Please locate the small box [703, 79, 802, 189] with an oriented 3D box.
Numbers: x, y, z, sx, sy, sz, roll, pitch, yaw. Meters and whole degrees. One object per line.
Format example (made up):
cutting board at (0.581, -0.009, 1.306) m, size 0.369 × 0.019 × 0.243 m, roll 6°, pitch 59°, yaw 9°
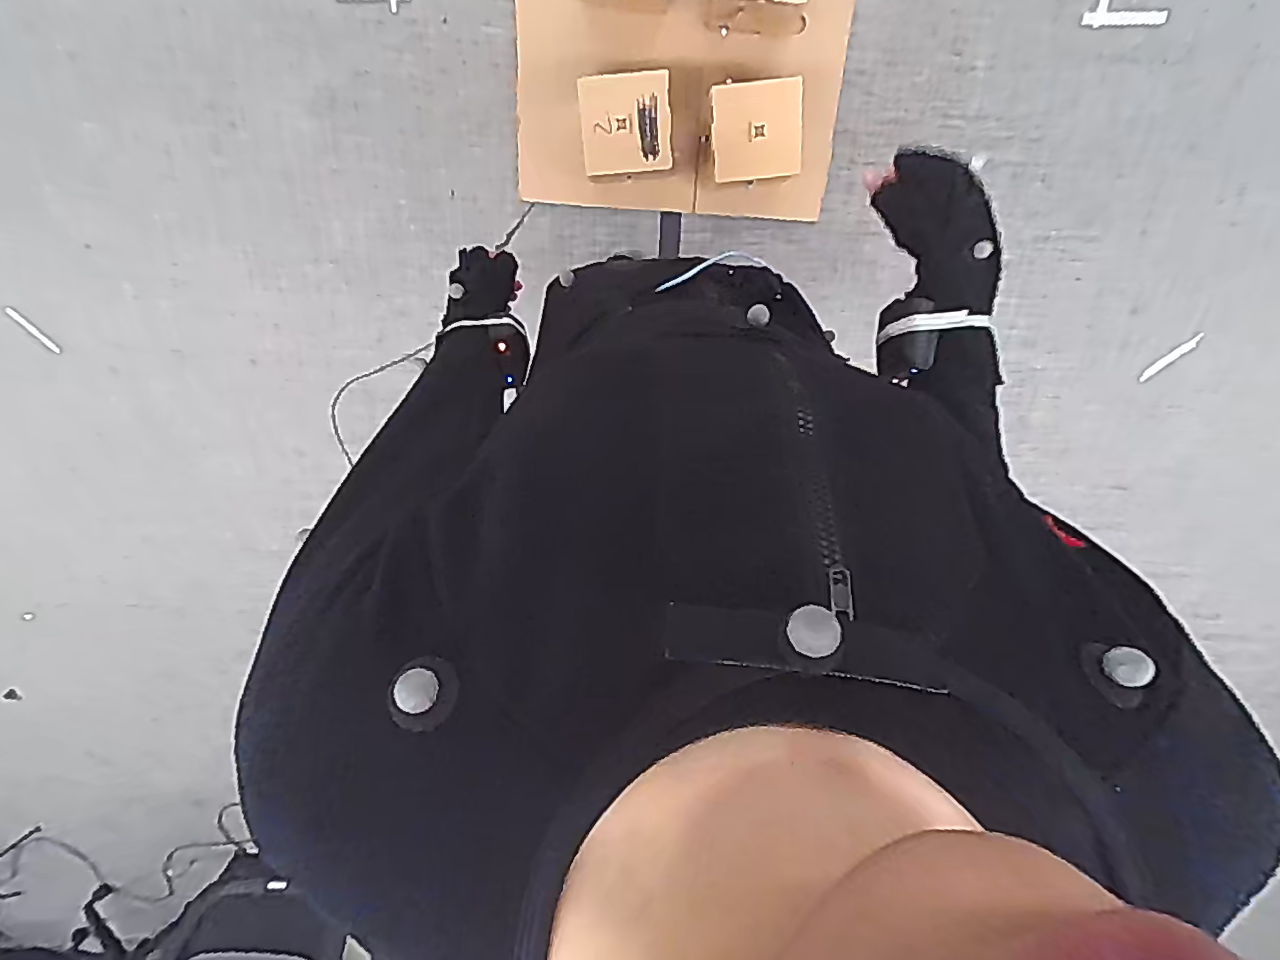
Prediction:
small box at (0.230, -0.718, 1.137) m, size 0.179 × 0.176 × 0.168 m, roll -4°, pitch 113°, yaw 4°
